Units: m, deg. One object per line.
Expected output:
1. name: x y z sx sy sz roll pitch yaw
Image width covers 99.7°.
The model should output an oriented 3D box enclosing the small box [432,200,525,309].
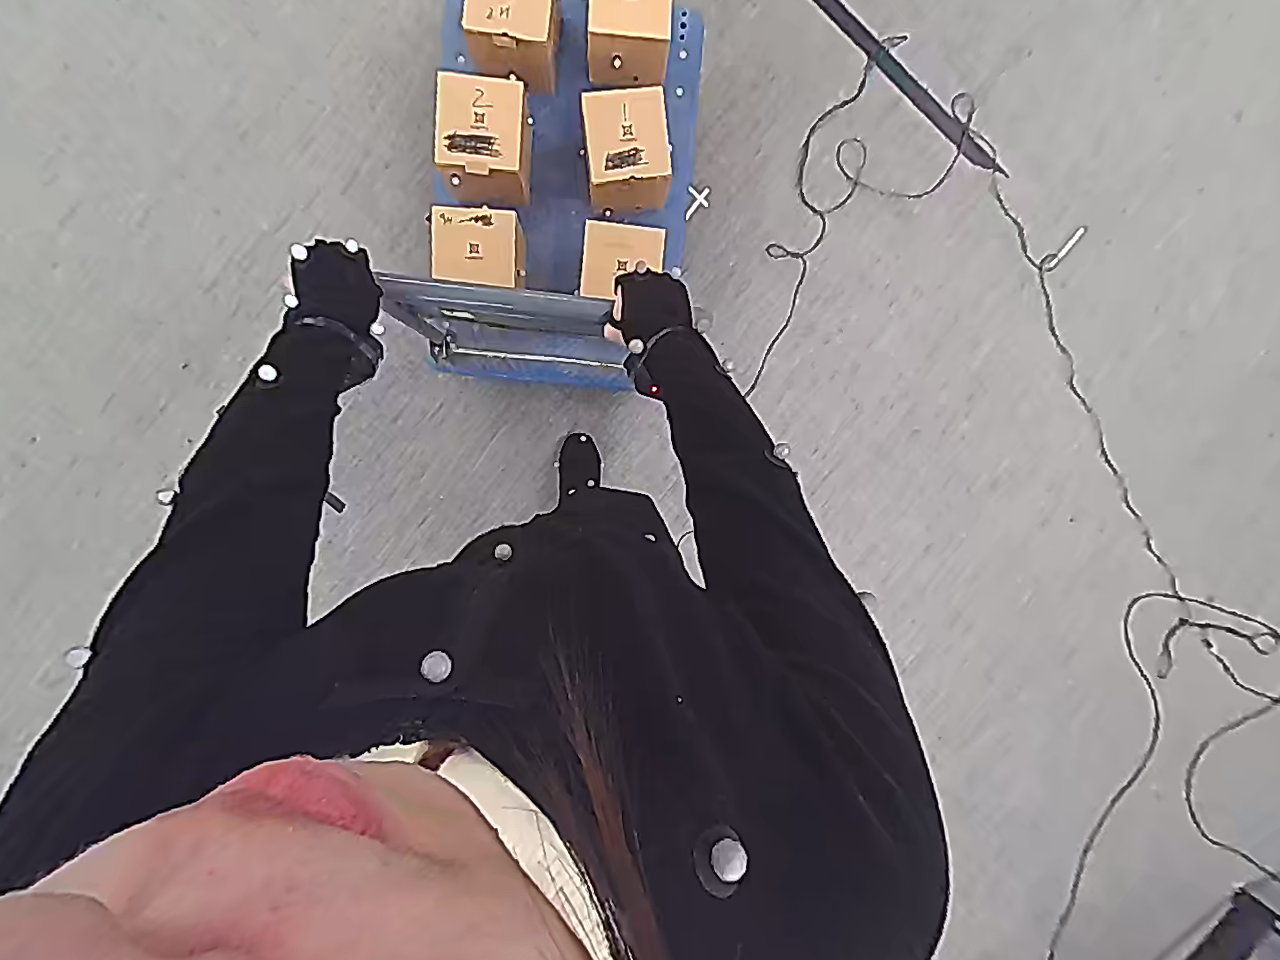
1. small box: -0.338 -0.473 1.159 0.168 0.176 0.179 1 96 -6

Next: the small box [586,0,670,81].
1. small box: -0.026 -0.982 1.137 0.168 0.176 0.179 2 95 -5

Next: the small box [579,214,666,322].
1. small box: -0.042 -0.454 1.187 0.168 0.176 0.179 5 94 -6

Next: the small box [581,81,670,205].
1. small box: -0.033 -0.711 1.163 0.168 0.176 0.179 -7 95 -4

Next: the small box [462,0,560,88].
1. small box: -0.259 -0.964 1.118 0.168 0.176 0.179 6 96 -5
